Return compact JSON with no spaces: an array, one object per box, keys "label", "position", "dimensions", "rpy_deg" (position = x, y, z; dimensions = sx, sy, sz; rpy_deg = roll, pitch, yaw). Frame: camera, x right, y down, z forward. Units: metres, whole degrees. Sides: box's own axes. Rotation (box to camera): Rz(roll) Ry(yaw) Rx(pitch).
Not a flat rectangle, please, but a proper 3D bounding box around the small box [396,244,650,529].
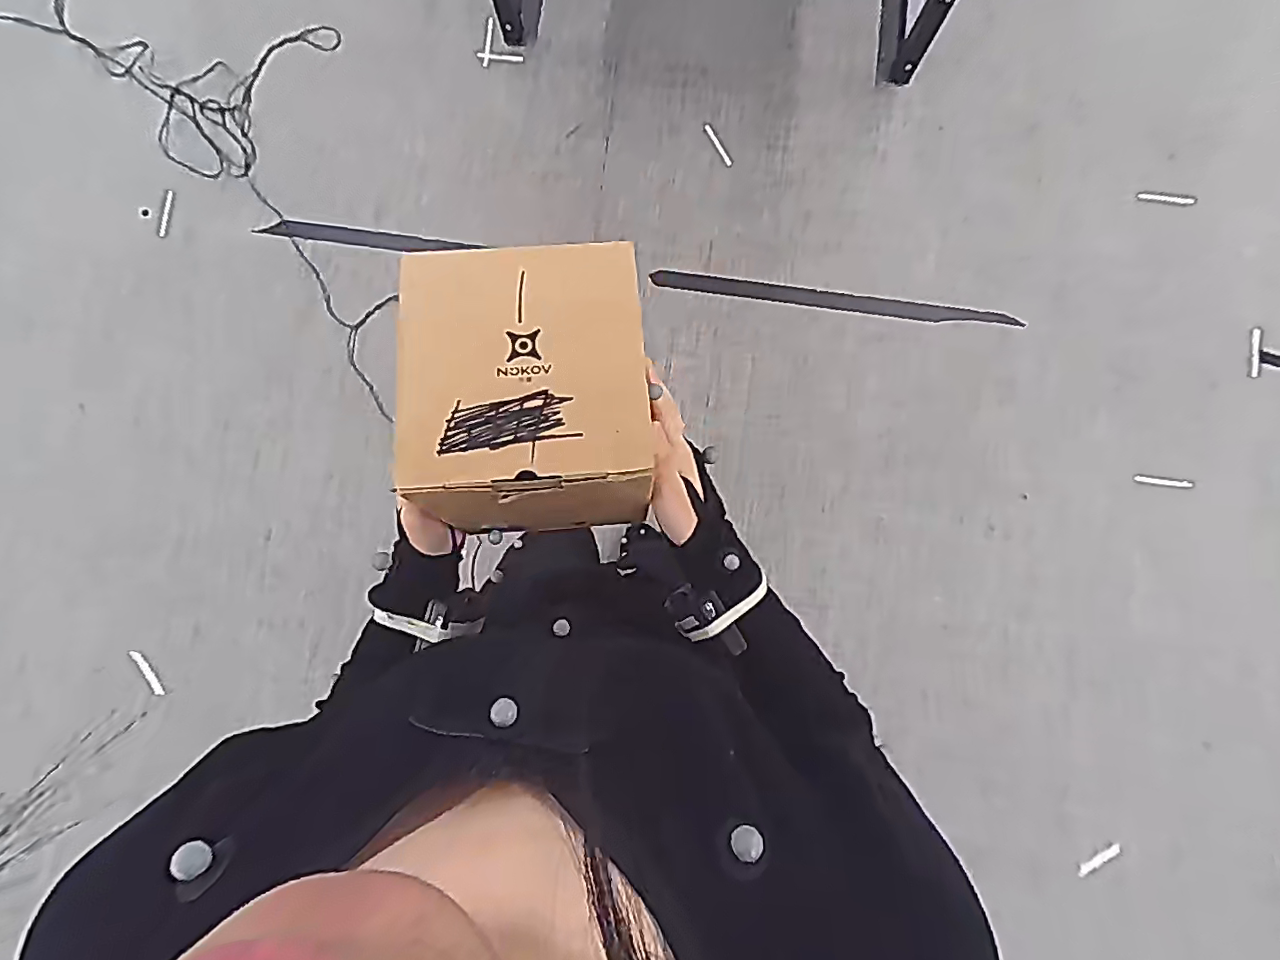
[{"label":"small box","position":[-0.080,-0.059,0.441],"dimensions":[0.168,0.176,0.179],"rpy_deg":[-5,74,-3]}]
